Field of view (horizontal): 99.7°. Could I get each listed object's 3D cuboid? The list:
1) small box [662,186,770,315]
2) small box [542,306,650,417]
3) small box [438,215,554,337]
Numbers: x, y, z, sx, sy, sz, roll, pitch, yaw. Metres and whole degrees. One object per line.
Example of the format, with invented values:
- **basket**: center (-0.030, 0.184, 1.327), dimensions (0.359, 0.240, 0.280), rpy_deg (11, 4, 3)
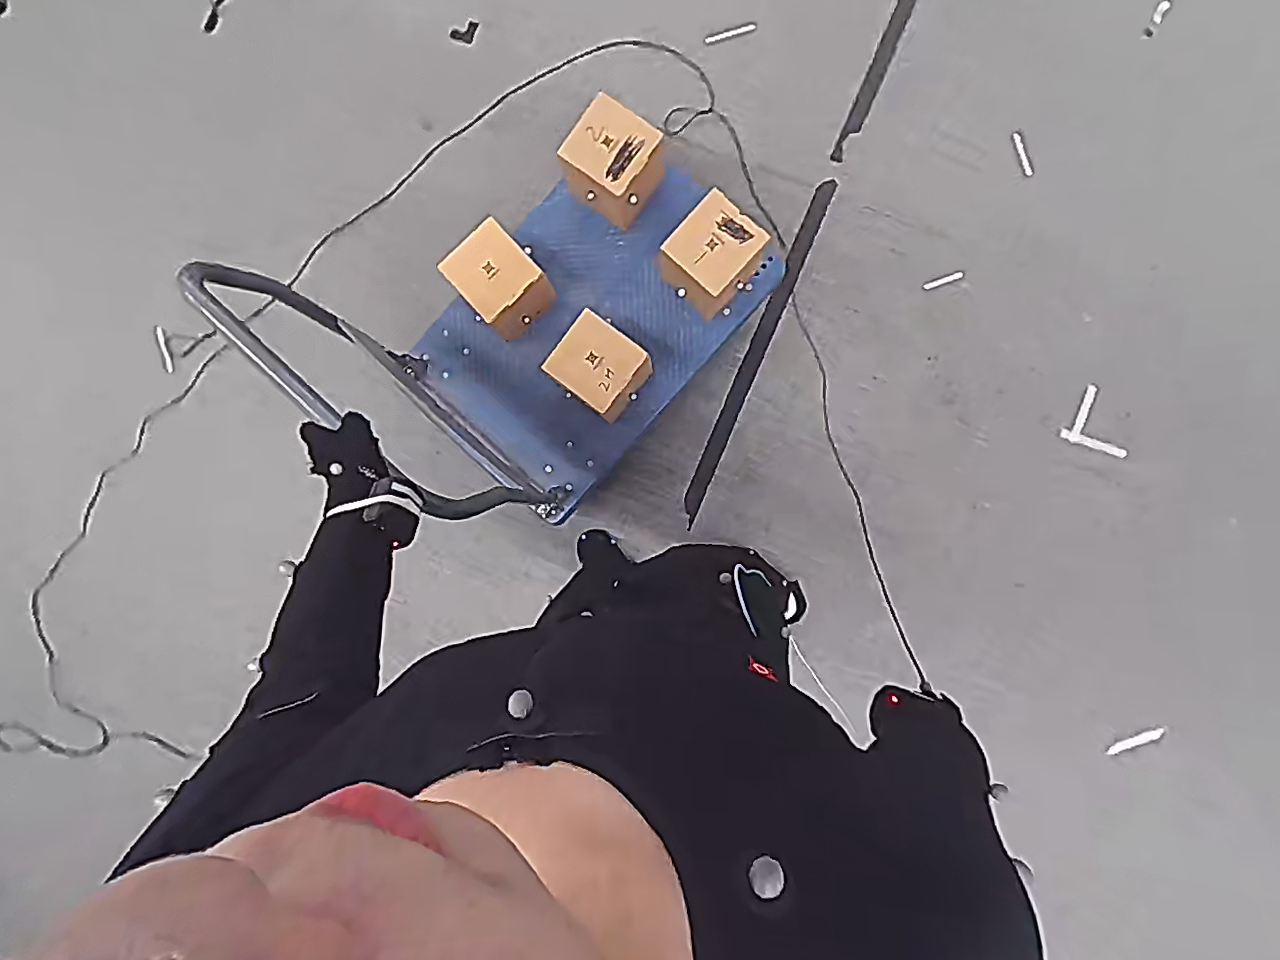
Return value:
- **small box**: center (0.165, -0.510, 1.229), dimensions (0.168, 0.176, 0.179), rpy_deg (43, 93, 3)
- **small box**: center (-0.093, -0.260, 1.242), dimensions (0.179, 0.176, 0.168), rpy_deg (38, 92, 3)
- **small box**: center (-0.326, -0.463, 1.257), dimensions (0.168, 0.176, 0.179), rpy_deg (-42, 89, 1)
